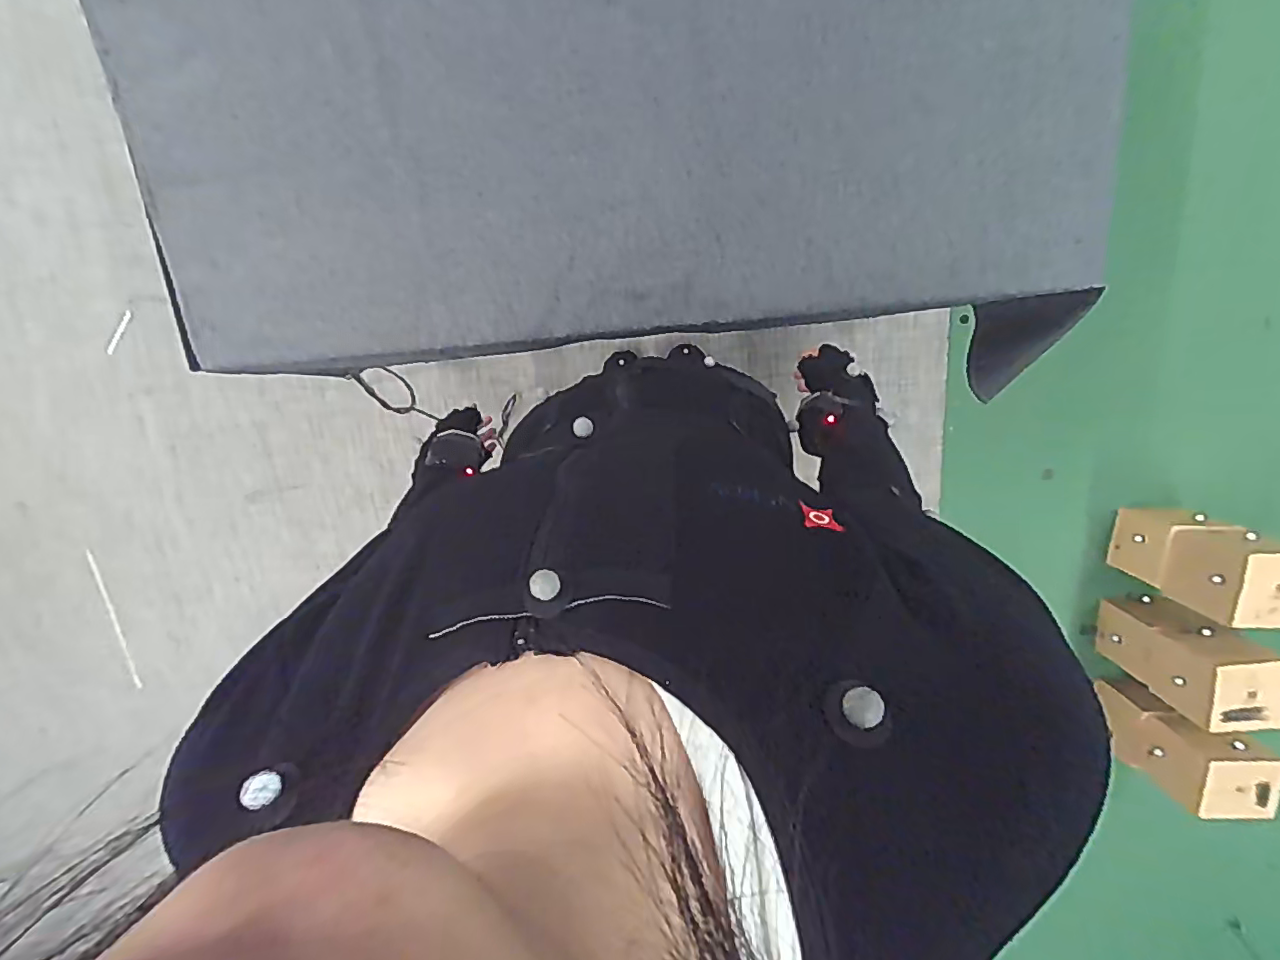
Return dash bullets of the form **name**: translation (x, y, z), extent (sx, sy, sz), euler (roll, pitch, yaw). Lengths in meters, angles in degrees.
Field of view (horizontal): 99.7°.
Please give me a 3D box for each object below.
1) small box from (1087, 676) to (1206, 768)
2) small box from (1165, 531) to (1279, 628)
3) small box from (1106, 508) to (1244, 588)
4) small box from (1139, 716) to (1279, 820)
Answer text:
- **small box**: translation (1.401, 0.674, 1.509), extent (0.168, 0.176, 0.179), euler (-1, 103, 3)
- **small box**: translation (1.362, 0.219, 1.230), extent (0.168, 0.176, 0.179), euler (0, 103, 3)
- **small box**: translation (1.359, 0.172, 1.389), extent (0.179, 0.176, 0.168), euler (1, 103, 2)
- **small box**: translation (1.417, 0.711, 1.349), extent (0.179, 0.176, 0.168), euler (-2, 104, 3)
